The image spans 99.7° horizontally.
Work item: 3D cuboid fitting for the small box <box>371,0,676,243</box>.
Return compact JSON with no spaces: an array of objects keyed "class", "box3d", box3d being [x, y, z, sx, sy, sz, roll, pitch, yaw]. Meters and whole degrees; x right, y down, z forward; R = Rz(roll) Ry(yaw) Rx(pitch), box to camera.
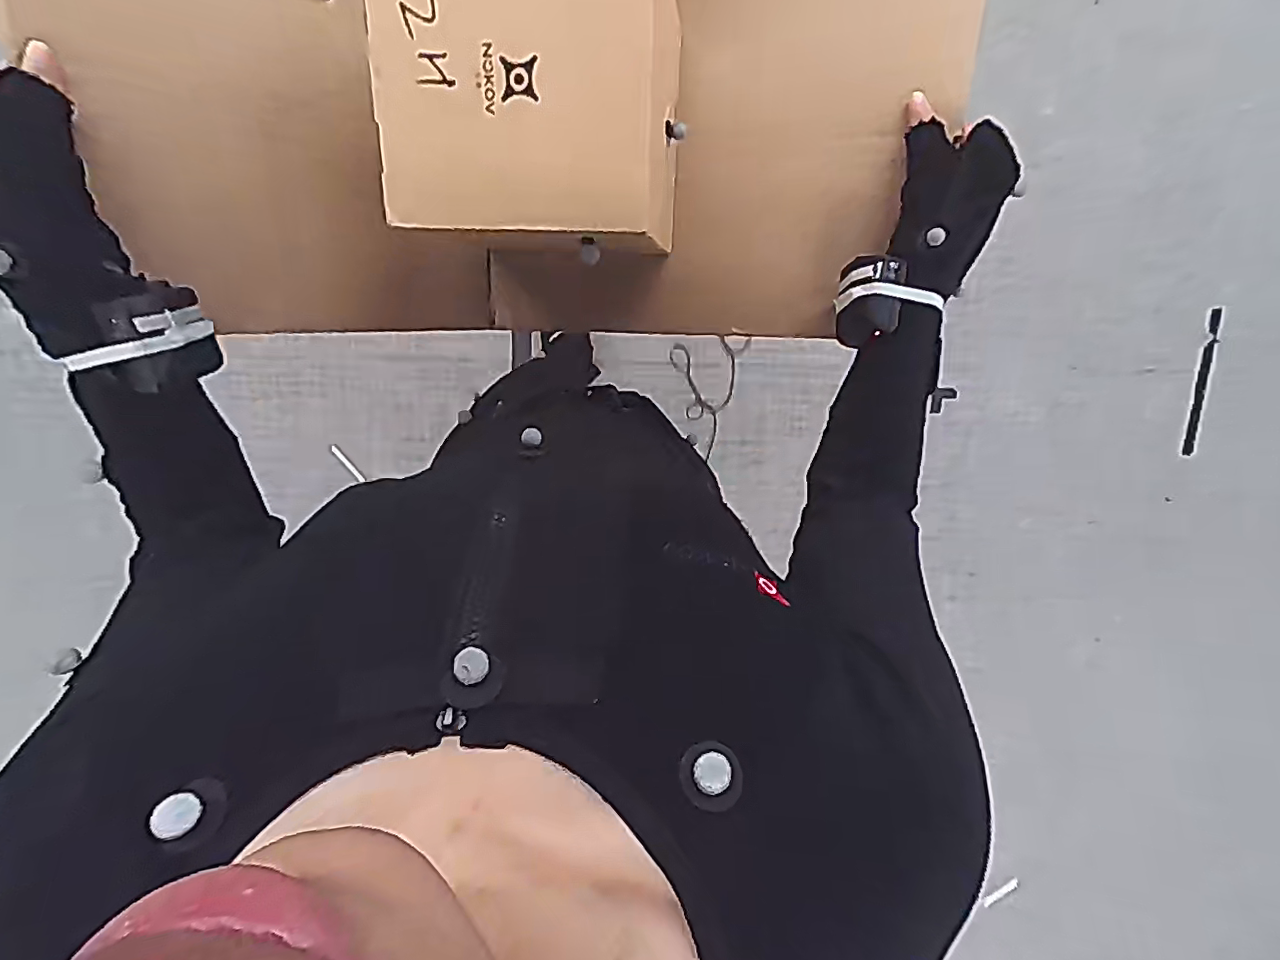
[{"class":"small box","box3d":[-0.068,-0.276,0.403,0.179,0.176,0.168,5,109,7]}]
